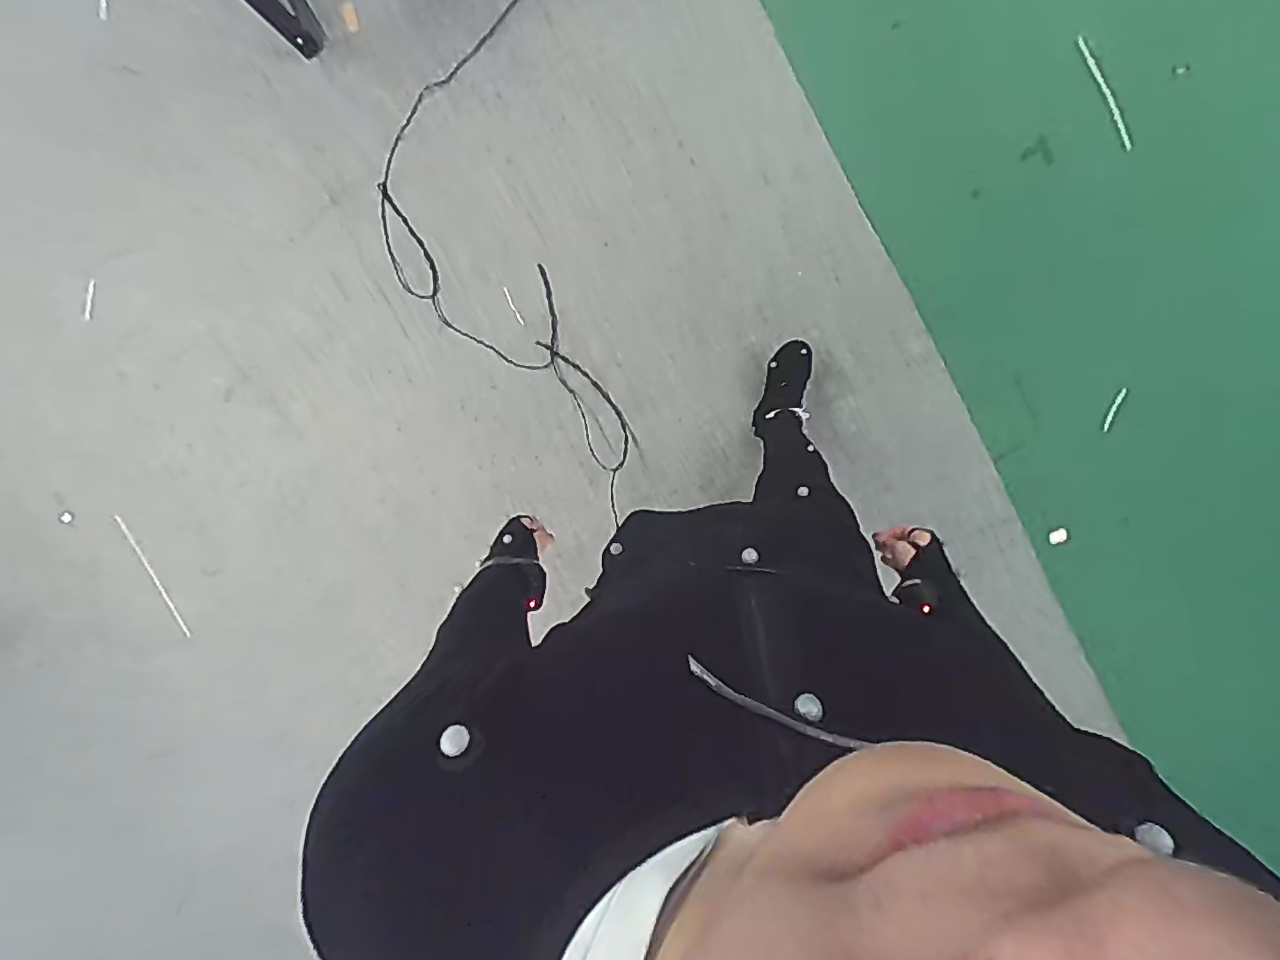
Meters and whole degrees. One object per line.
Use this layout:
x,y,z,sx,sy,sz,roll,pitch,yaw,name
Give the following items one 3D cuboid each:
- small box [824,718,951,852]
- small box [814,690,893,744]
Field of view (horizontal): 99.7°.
0.540,0.668,1.206,0.179,0.176,0.168,-29,92,8,small box
0.566,0.661,1.369,0.168,0.176,0.179,-30,92,8,small box
